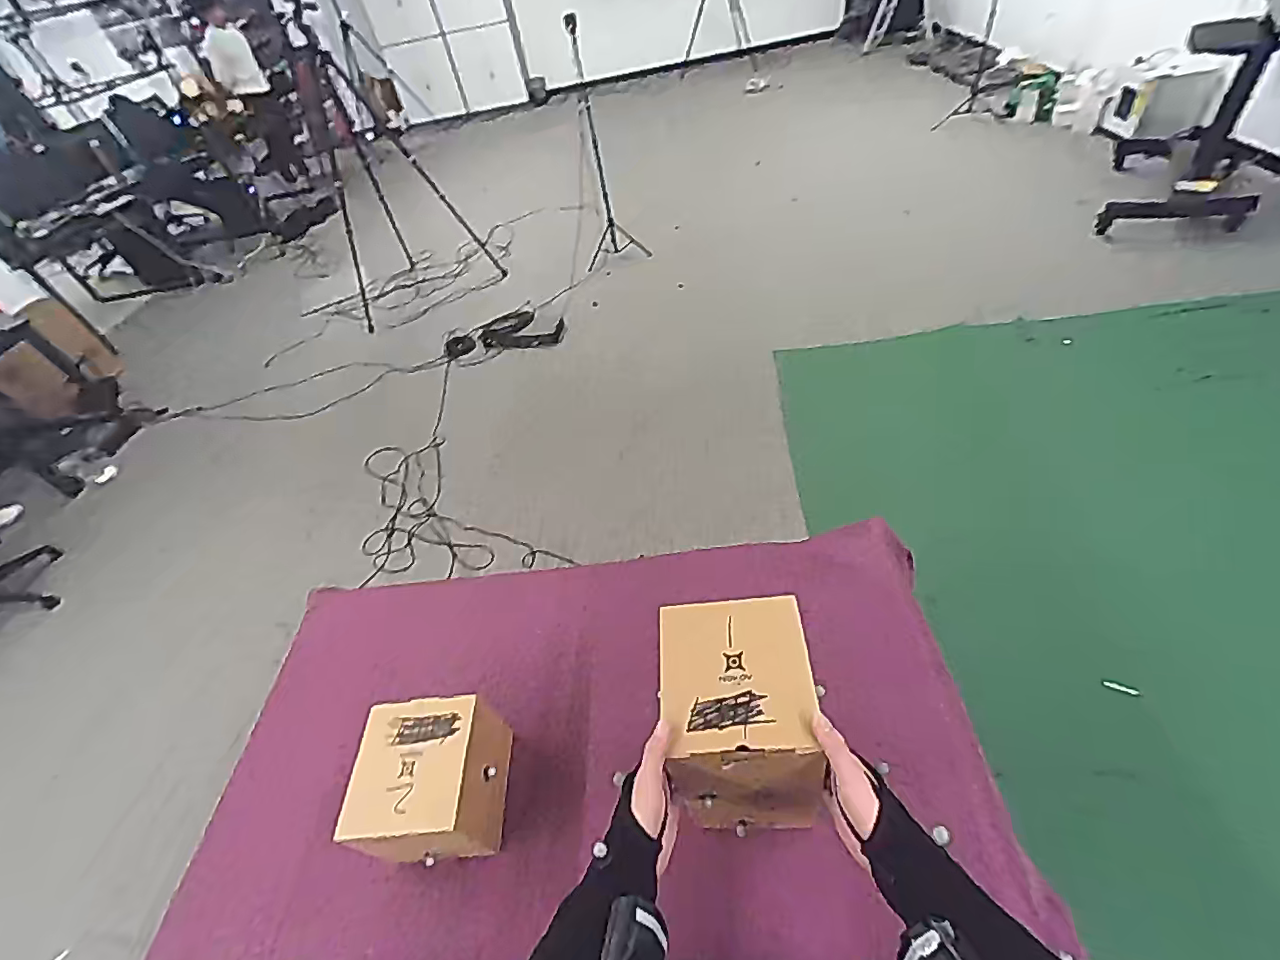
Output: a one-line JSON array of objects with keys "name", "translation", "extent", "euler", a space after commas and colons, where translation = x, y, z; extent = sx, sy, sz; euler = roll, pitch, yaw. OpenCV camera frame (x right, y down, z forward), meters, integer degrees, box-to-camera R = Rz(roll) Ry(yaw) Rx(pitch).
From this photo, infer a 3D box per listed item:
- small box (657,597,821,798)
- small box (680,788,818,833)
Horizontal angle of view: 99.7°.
[{"name": "small box", "translation": [0.116, 0.264, 0.643], "extent": [0.168, 0.176, 0.179], "euler": [-7, 44, 9]}, {"name": "small box", "translation": [0.147, 0.374, 0.759], "extent": [0.168, 0.176, 0.179], "euler": [-7, 45, 9]}]
